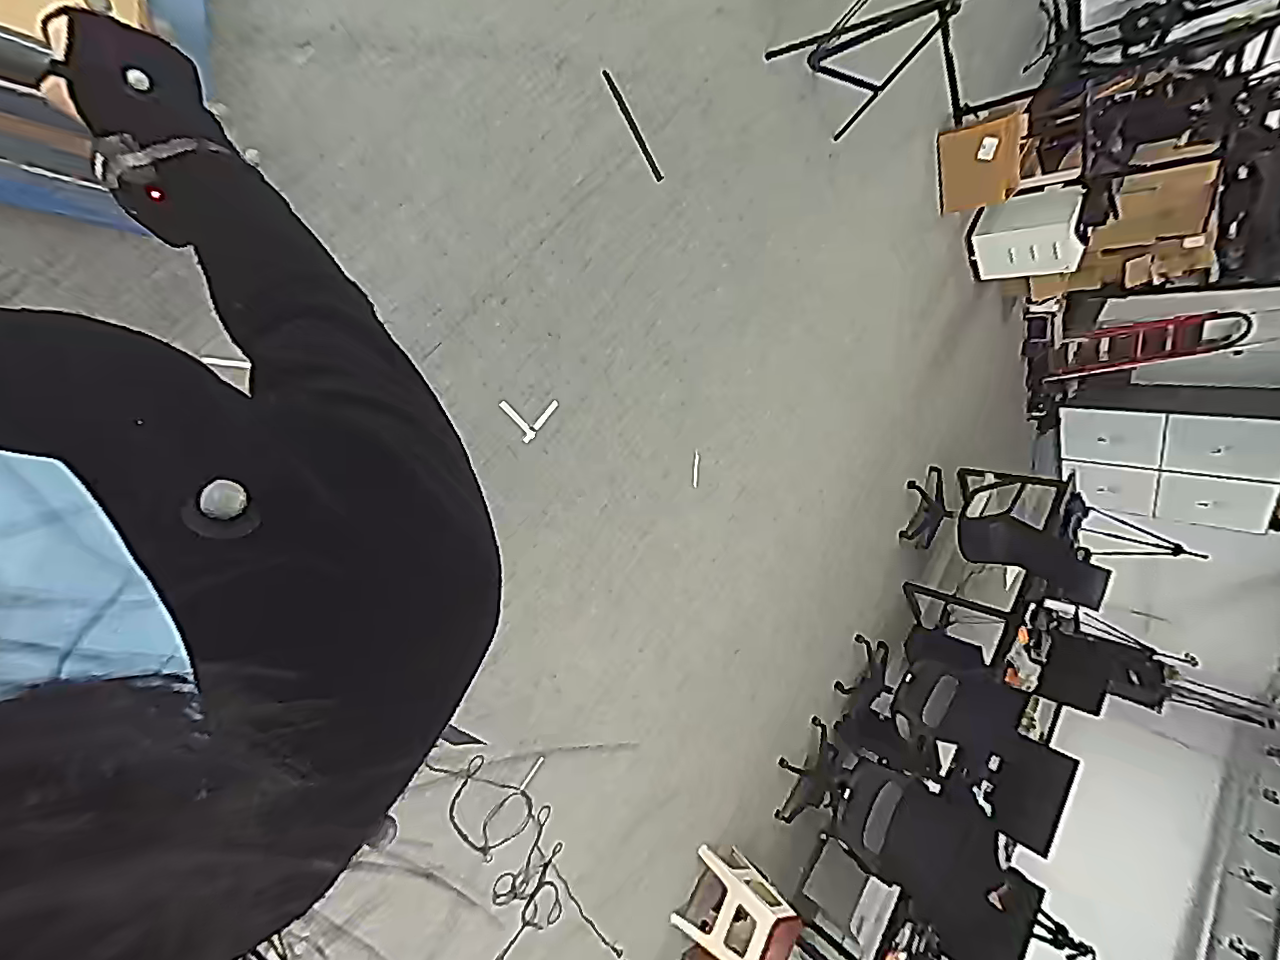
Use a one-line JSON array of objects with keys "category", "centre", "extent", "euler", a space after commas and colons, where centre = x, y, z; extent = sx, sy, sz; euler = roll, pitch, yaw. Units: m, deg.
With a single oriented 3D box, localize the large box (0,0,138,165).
[{"category": "large box", "centre": [-0.897, -0.654, 0.661], "extent": [0.408, 0.320, 0.320], "euler": [-1, 101, -45]}]
